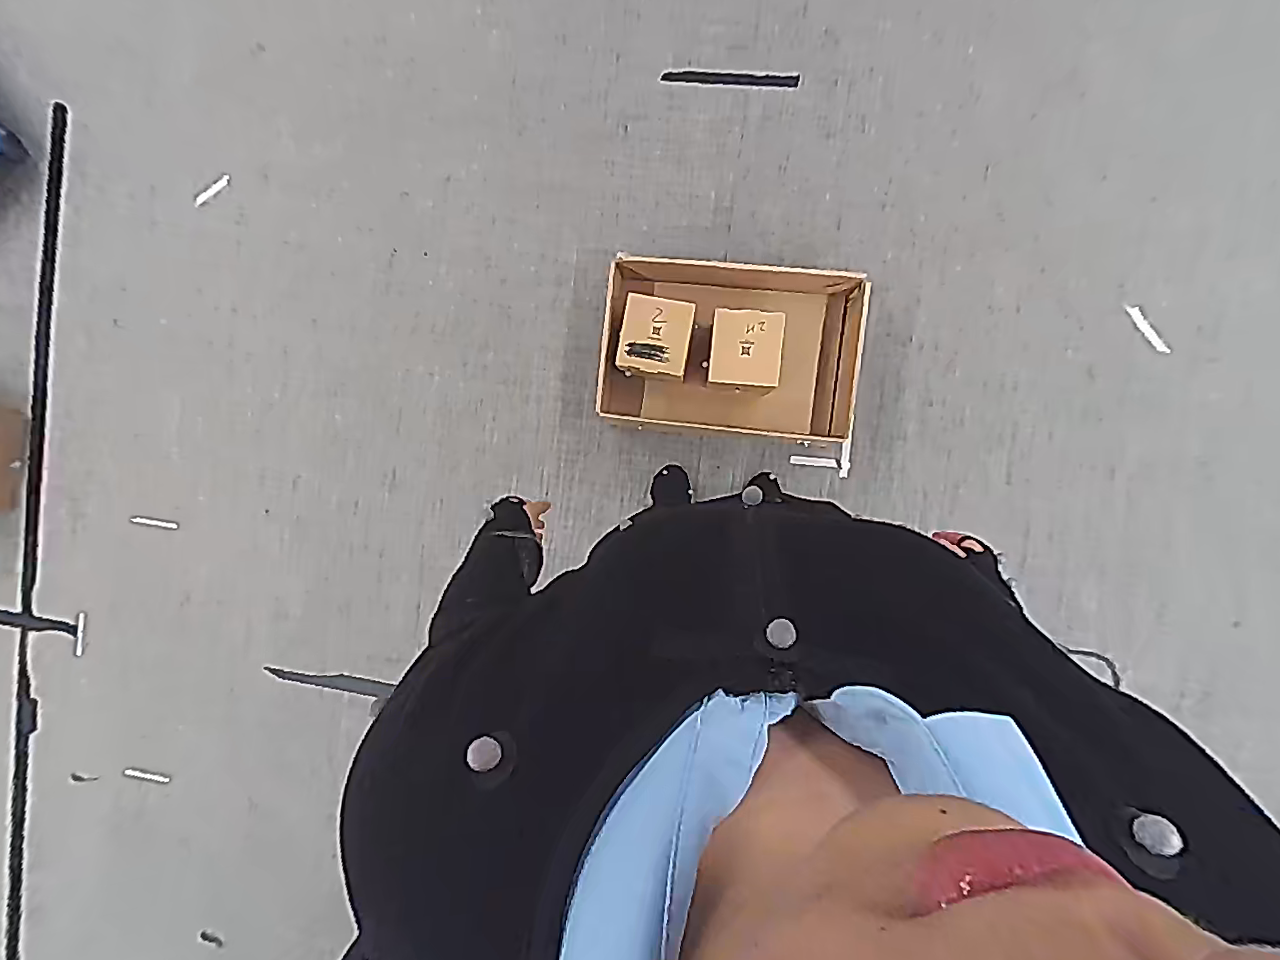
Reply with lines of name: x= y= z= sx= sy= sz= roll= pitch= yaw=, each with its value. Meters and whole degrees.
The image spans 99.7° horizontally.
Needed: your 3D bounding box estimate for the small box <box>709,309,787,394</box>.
small box: x=0.262 y=-0.313 z=1.346 sx=0.168 sy=0.176 sz=0.179 roll=6 pitch=93 yaw=5
